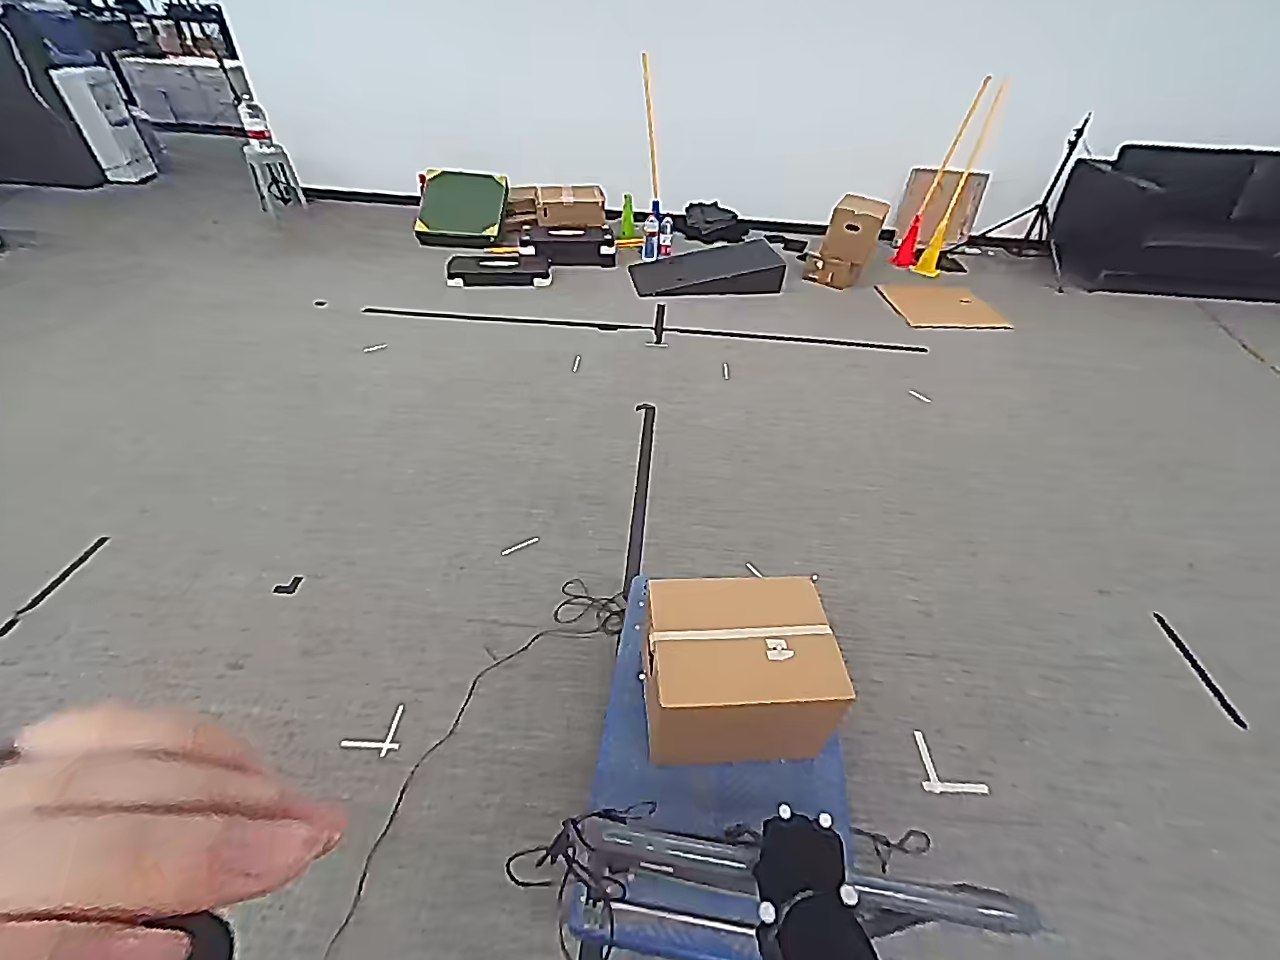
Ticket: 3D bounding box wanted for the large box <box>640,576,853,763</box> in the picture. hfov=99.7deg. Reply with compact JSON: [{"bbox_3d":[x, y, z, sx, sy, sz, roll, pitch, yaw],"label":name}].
[{"bbox_3d":[0.218,0.450,1.292,0.408,0.320,0.320,0,43,-5],"label":"large box"}]
